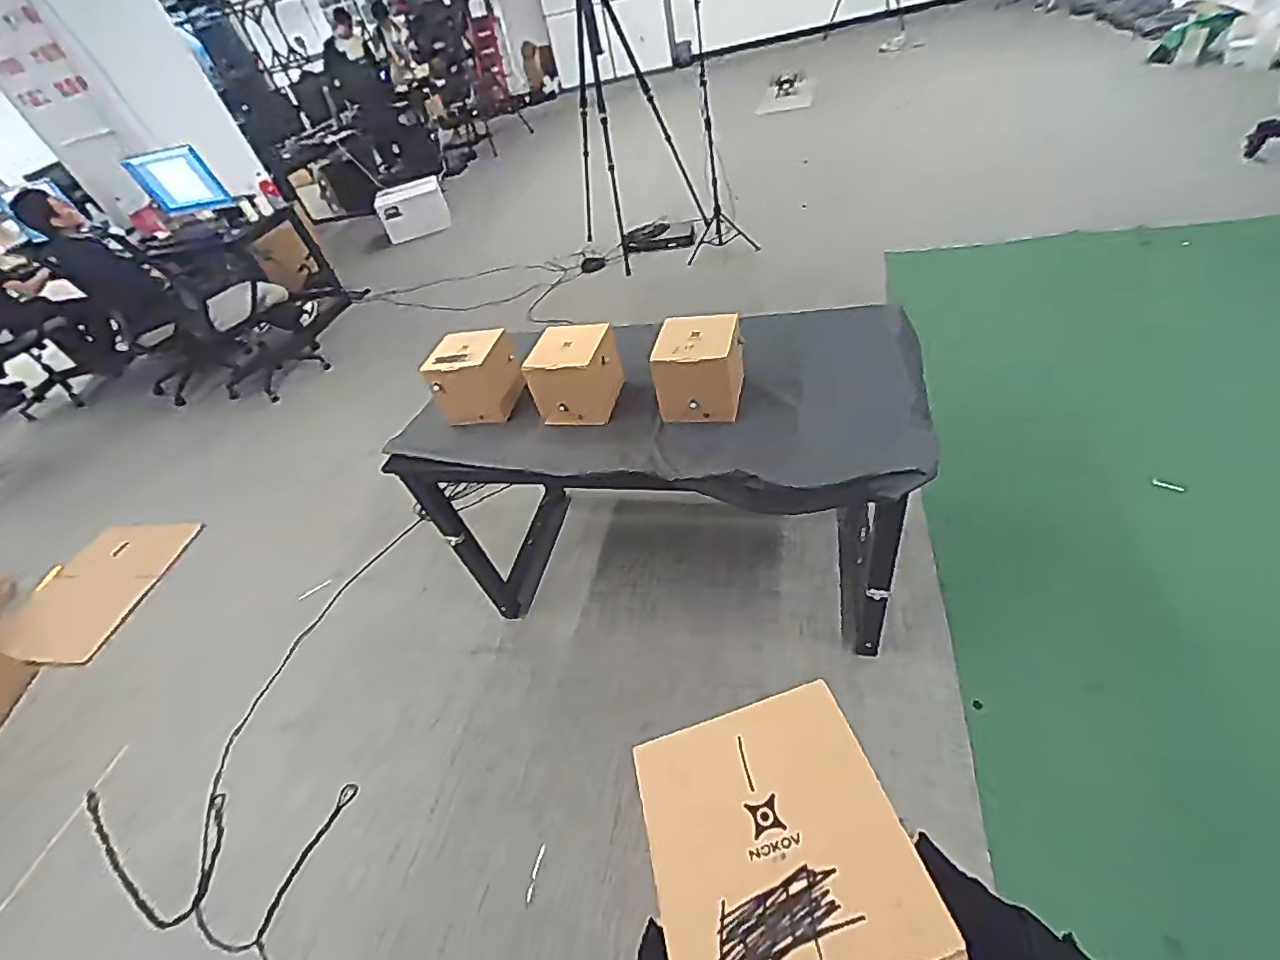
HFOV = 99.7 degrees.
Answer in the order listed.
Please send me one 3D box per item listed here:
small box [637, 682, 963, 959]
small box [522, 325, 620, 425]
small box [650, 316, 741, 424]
[{"bbox_3d":[0.111,0.295,0.410,0.168,0.176,0.179,-20,37,2],"label":"small box"},{"bbox_3d":[-0.154,-0.251,1.296,0.168,0.176,0.179,2,47,17],"label":"small box"},{"bbox_3d":[0.131,-0.245,1.208,0.168,0.176,0.179,2,47,18],"label":"small box"}]
